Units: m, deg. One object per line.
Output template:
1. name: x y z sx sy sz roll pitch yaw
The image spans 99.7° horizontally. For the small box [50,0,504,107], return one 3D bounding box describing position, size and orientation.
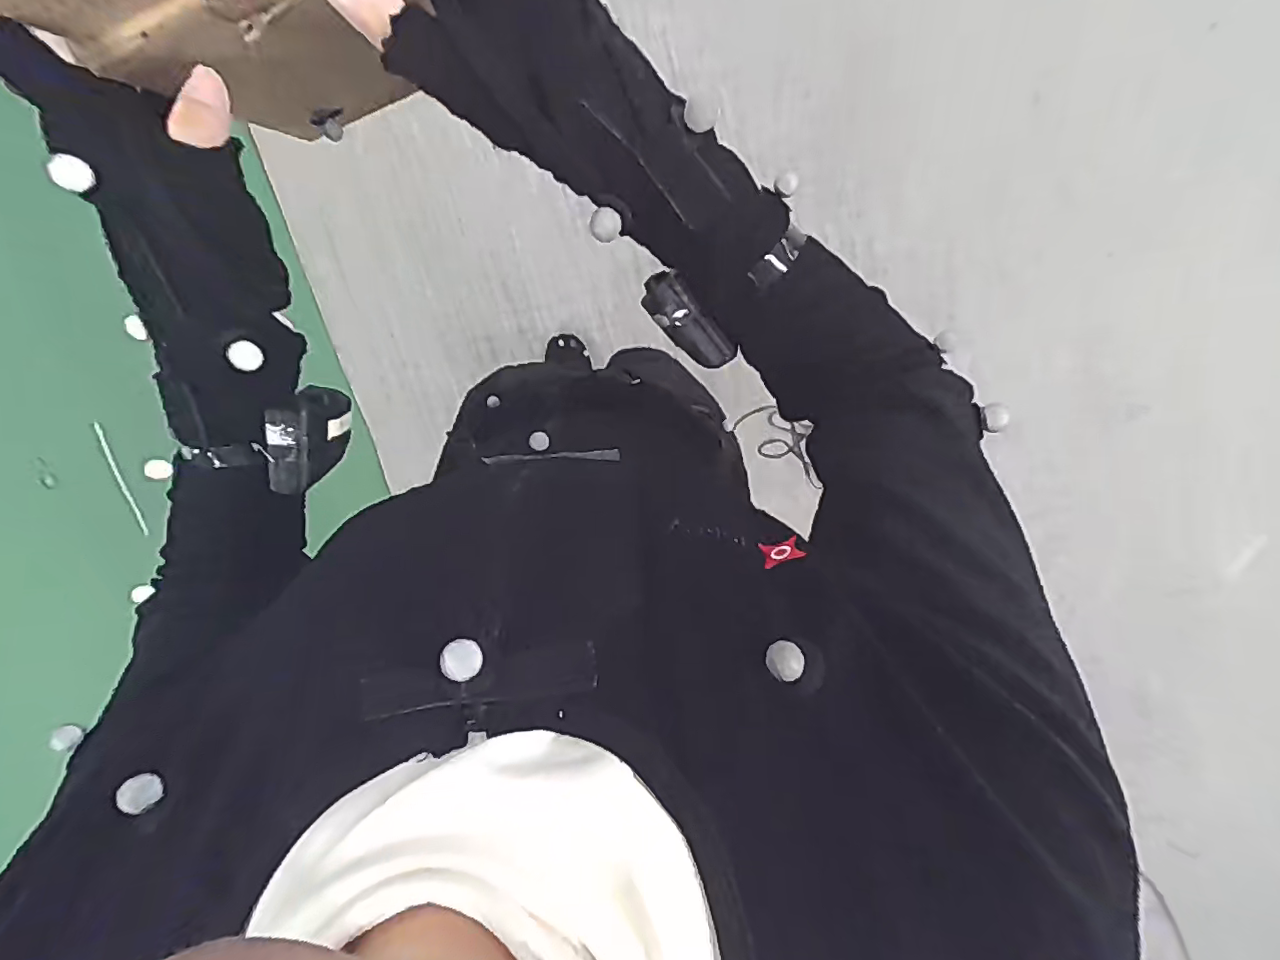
1. small box: -0.188 -0.315 0.263 0.168 0.176 0.179 -17 109 8
